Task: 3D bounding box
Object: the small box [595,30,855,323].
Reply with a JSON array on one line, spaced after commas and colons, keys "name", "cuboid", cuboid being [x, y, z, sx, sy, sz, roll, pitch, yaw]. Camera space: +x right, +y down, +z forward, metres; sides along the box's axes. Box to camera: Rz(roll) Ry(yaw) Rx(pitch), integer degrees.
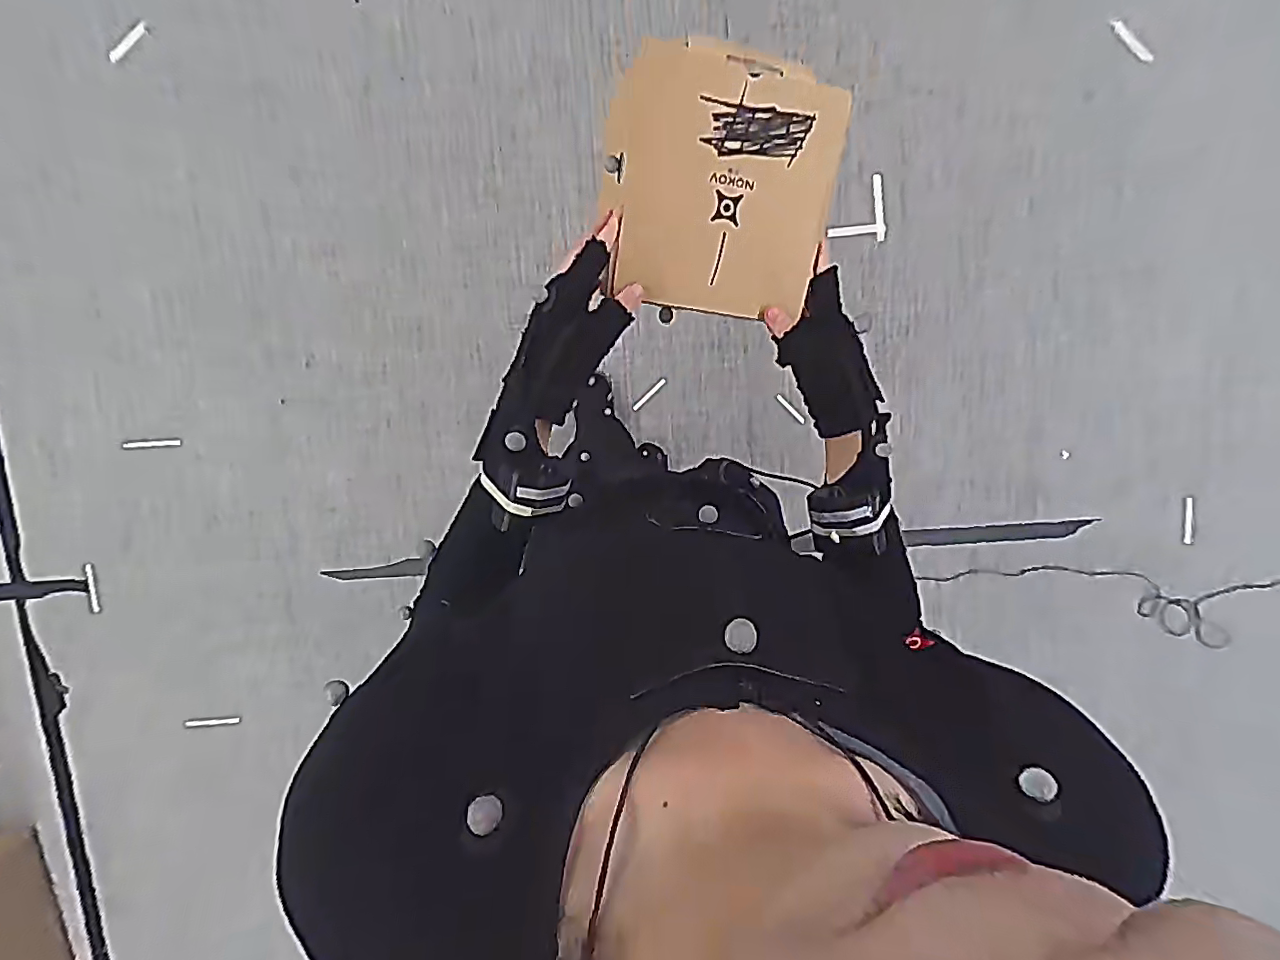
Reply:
[{"name": "small box", "cuboid": [0.057, -0.248, 0.490, 0.168, 0.176, 0.179, 5, 108, -14]}]
